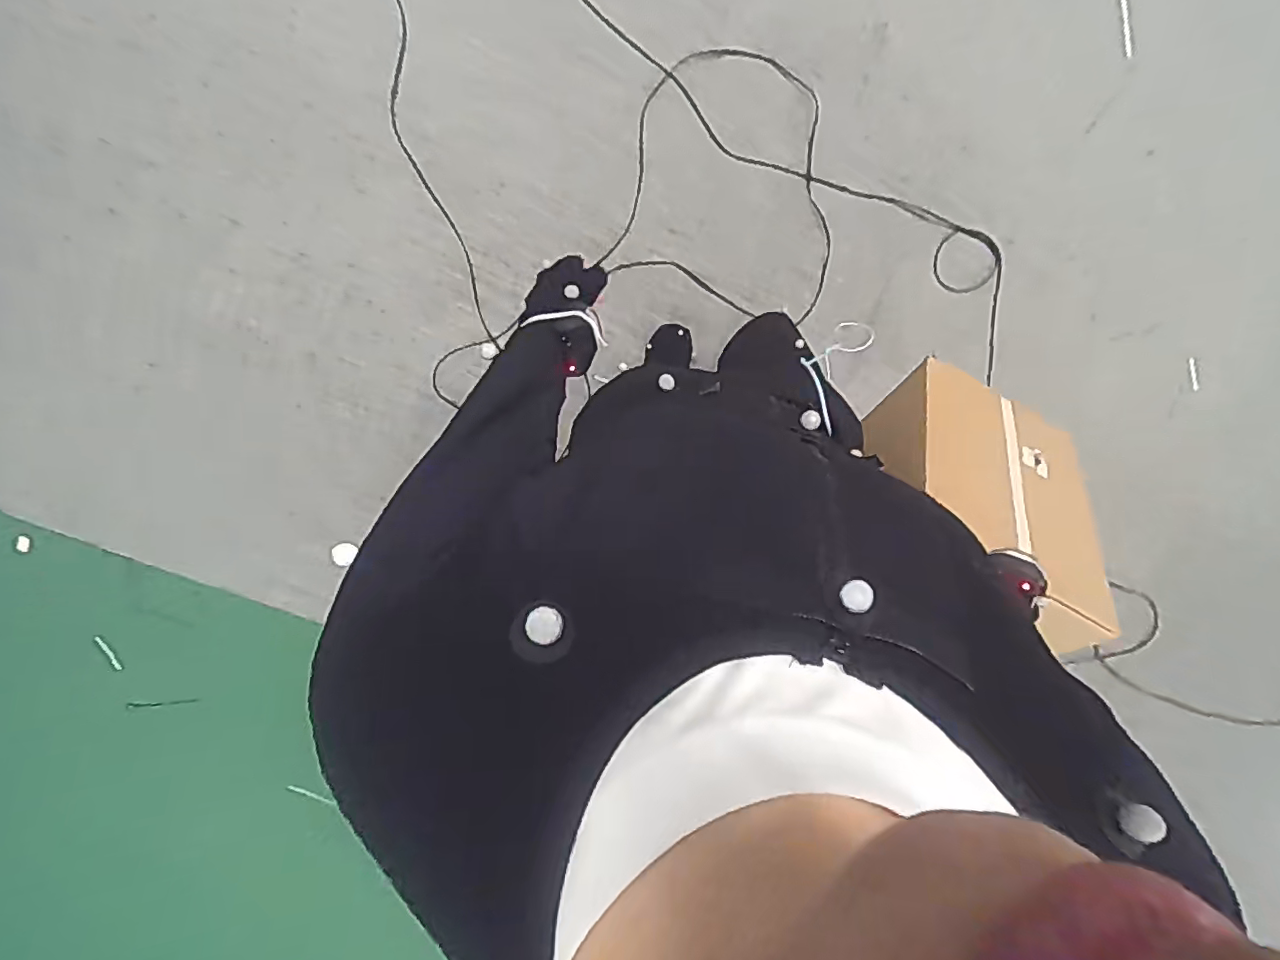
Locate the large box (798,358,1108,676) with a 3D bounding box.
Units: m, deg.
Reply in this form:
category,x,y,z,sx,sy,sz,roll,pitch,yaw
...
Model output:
category,x,y,z,sx,sy,sz,roll,pitch,yaw
large box,0.518,0.069,0.967,0.320,0.408,0.320,29,140,-4
